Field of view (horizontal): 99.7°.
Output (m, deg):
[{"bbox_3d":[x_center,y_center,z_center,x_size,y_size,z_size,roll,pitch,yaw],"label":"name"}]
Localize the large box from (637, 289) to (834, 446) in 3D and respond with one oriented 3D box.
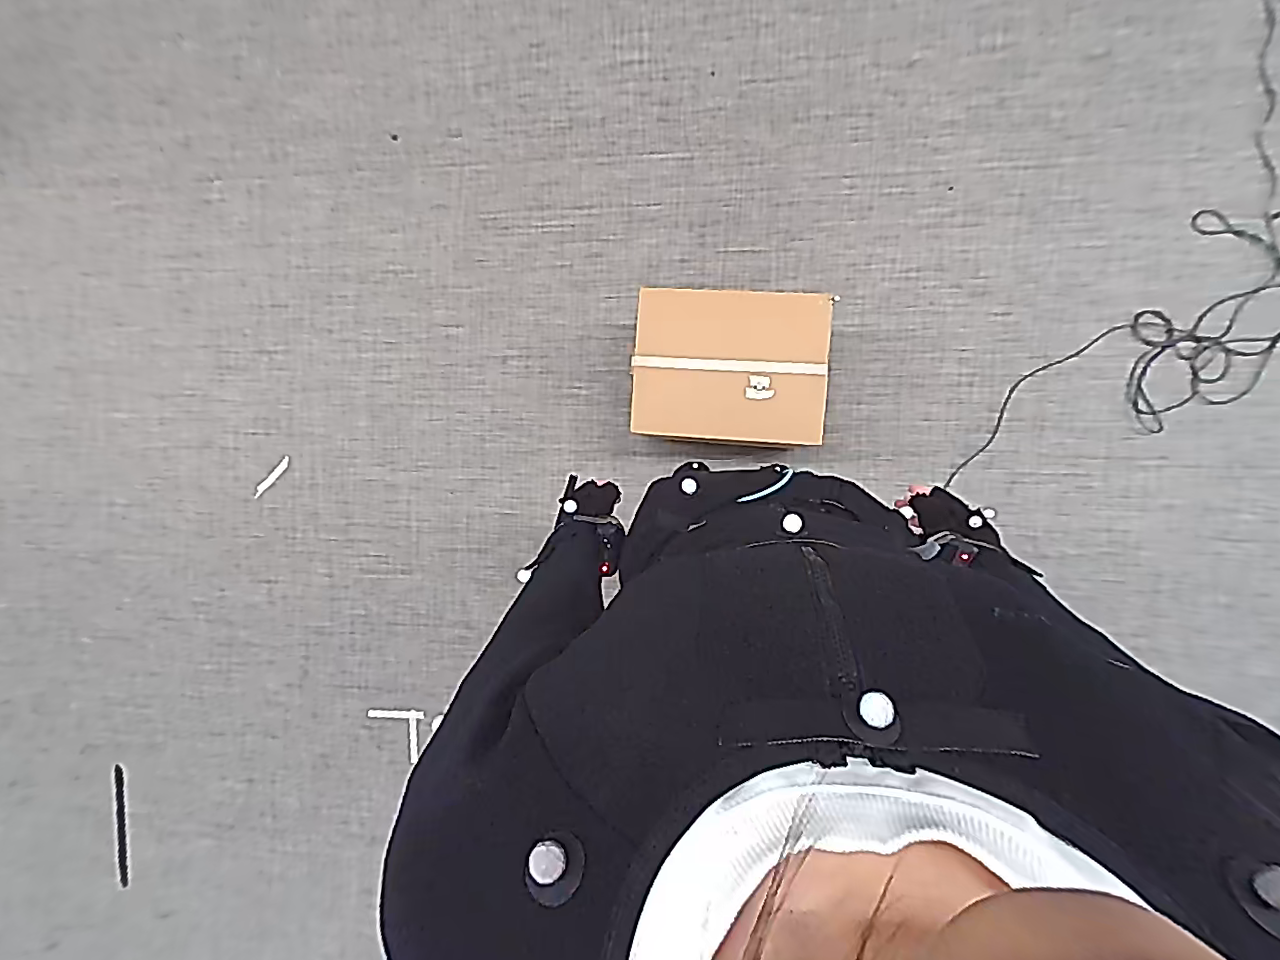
[{"bbox_3d":[0.212,-0.249,1.290,0.408,0.320,0.320,4,93,6],"label":"large box"}]
